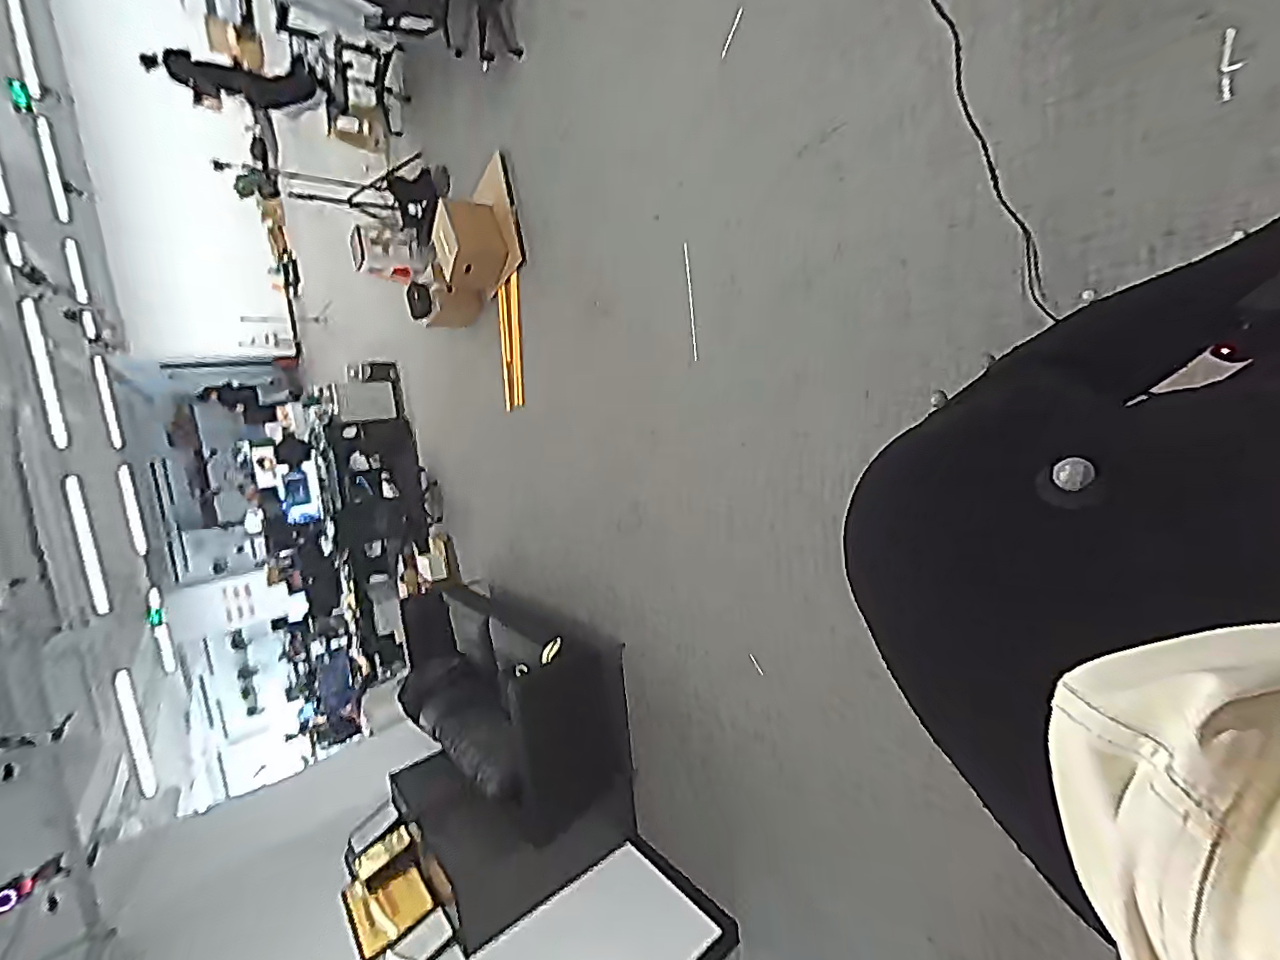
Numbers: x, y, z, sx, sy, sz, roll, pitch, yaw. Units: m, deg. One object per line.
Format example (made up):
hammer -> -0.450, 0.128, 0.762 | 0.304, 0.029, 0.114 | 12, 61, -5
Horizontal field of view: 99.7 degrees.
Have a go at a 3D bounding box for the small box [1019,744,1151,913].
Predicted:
small box -> 0.854, 0.653, 1.039 | 0.168, 0.176, 0.179 | 6, 104, 50

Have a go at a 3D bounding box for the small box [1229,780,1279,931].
small box -> 1.155, 0.669, 0.931 | 0.168, 0.176, 0.179 | 7, 106, 51
